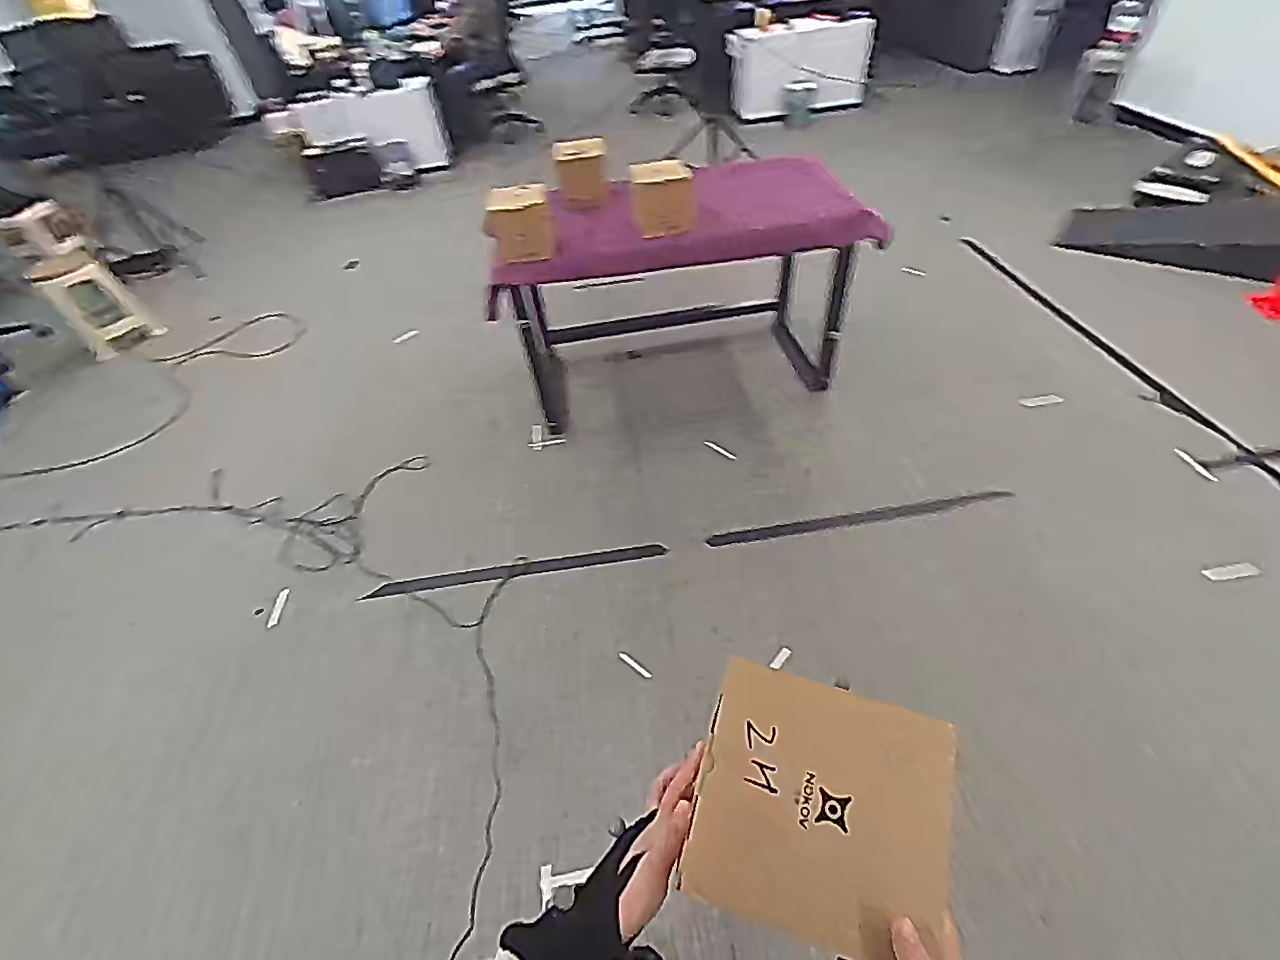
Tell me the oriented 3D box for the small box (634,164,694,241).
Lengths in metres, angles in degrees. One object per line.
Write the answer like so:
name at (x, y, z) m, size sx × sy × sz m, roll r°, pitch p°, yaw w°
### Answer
small box at (0.078, -0.893, 1.744) m, size 0.168 × 0.176 × 0.179 m, roll -10°, pitch 46°, yaw -1°

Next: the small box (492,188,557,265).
small box at (-0.358, -0.794, 1.708) m, size 0.168 × 0.176 × 0.179 m, roll -8°, pitch 47°, yaw 0°

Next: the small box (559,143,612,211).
small box at (-0.197, -1.093, 1.961) m, size 0.168 × 0.176 × 0.179 m, roll -7°, pitch 48°, yaw 1°
